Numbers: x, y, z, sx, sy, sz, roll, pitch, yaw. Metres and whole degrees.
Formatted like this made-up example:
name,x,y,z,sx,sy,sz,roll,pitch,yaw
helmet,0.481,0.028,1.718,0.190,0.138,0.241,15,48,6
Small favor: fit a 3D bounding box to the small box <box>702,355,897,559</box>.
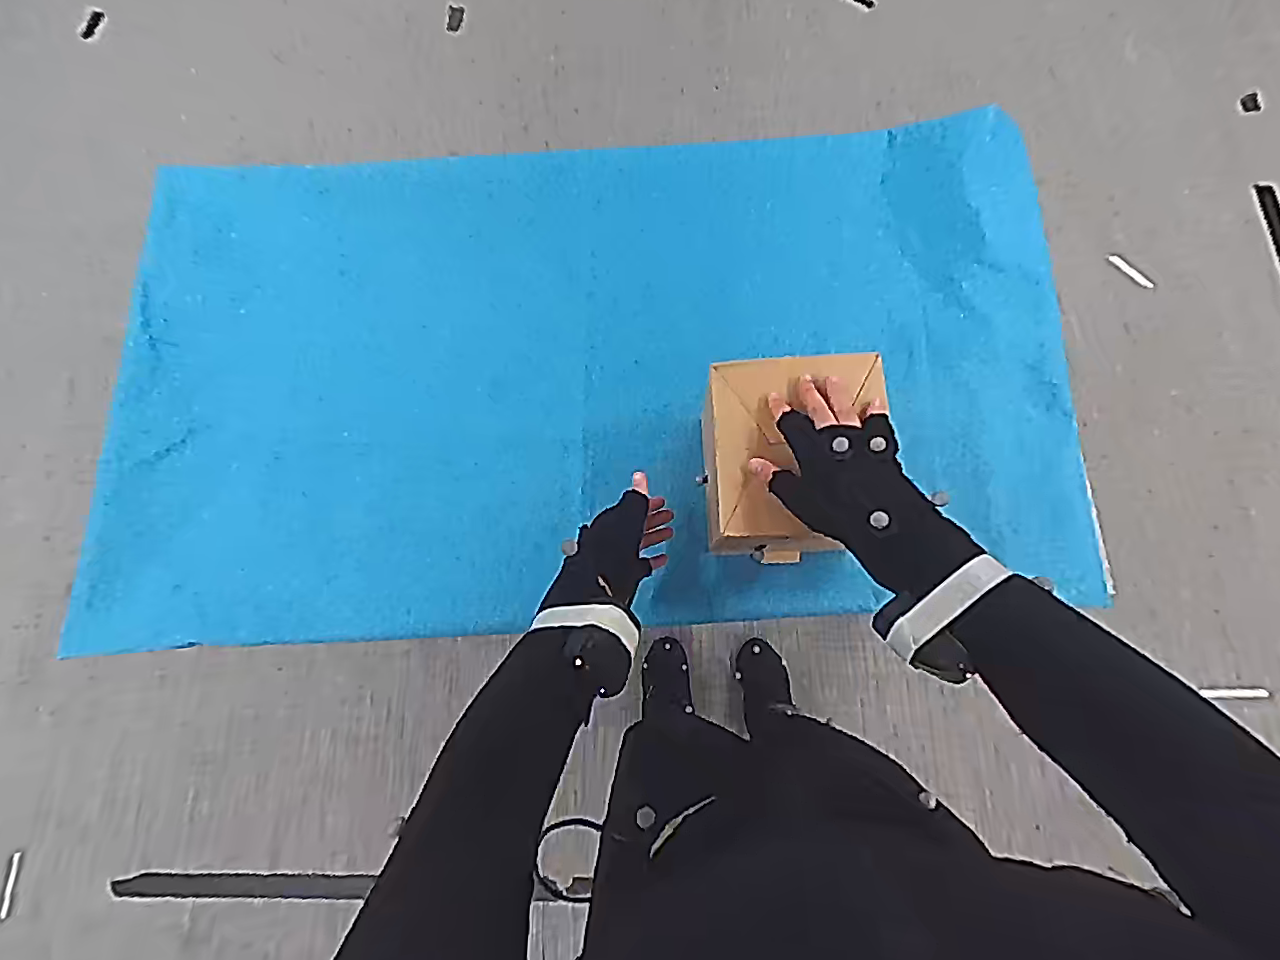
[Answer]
name,x,y,z,sx,sy,sz,roll,pitch,yaw
small box,0.158,-0.014,0.588,0.168,0.176,0.179,-3,76,2
